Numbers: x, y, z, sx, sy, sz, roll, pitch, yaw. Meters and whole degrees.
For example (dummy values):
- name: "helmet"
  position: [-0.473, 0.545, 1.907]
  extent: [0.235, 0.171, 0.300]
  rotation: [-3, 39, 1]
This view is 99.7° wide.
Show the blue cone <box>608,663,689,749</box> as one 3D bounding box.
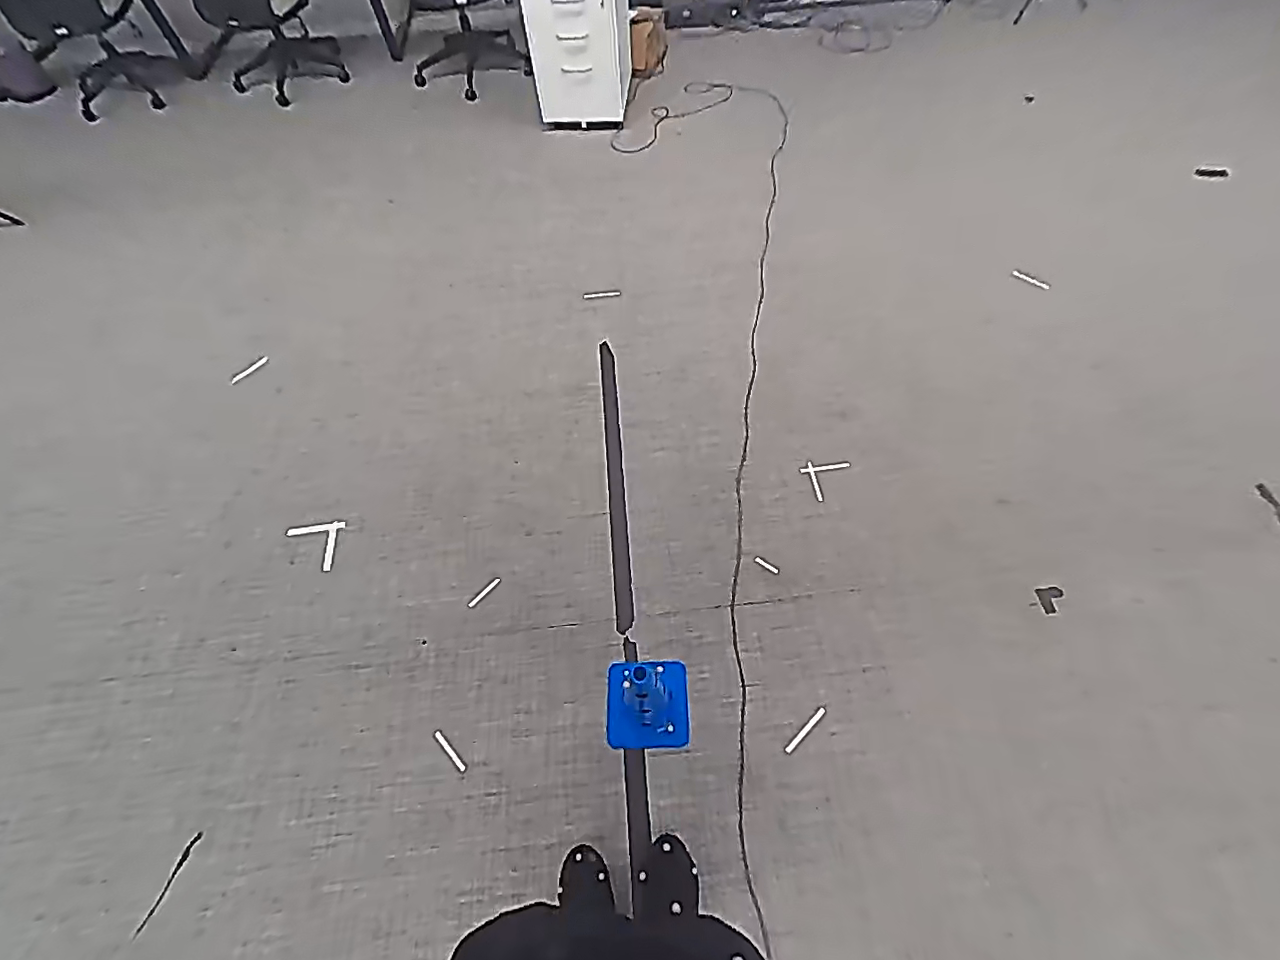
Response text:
- name: "blue cone"
  position: [0.012, 0.460, 1.174]
  extent: [0.193, 0.380, 0.192]
  rotation: [-3, 59, 1]
